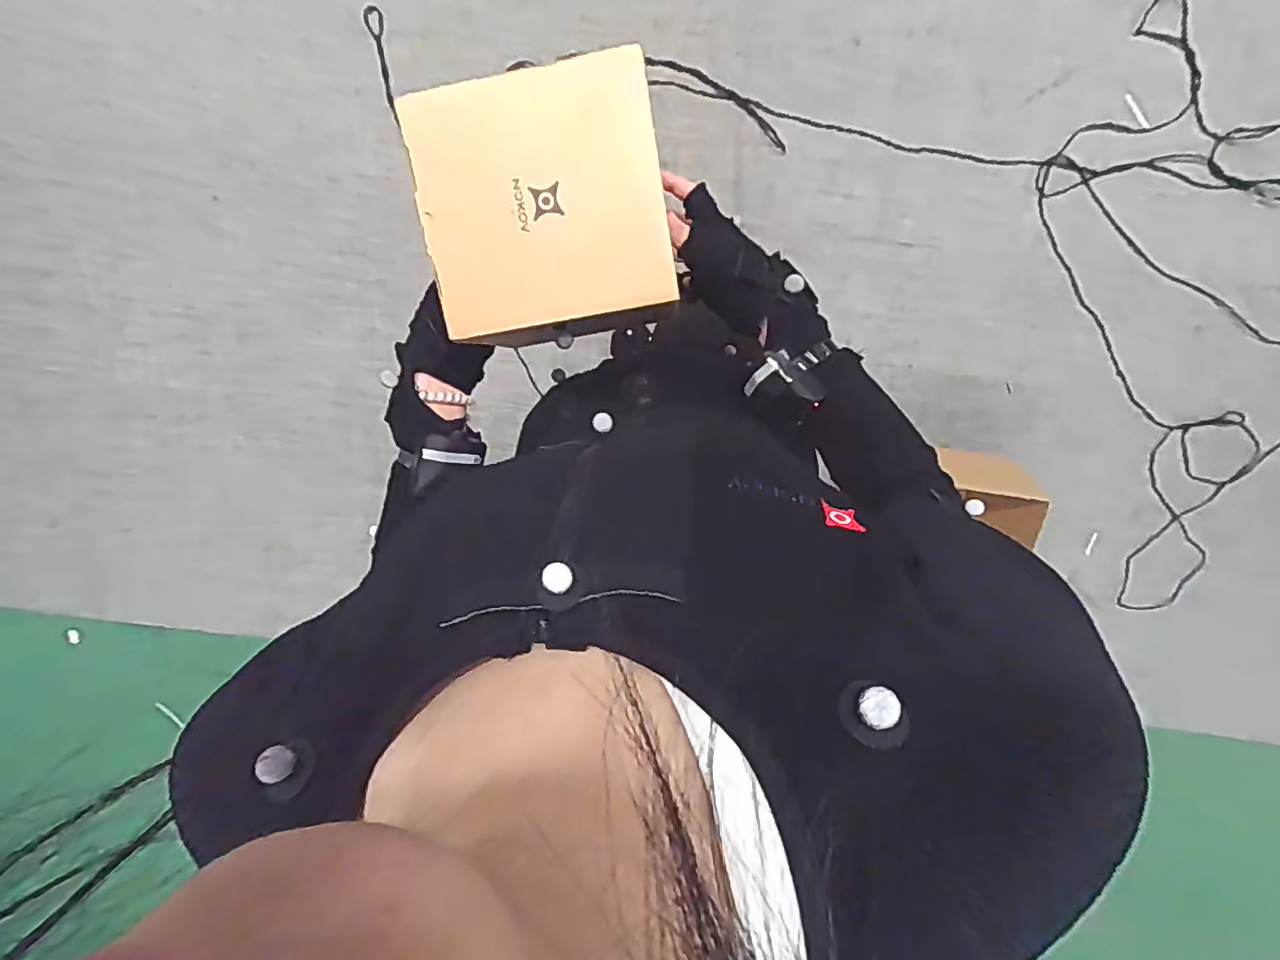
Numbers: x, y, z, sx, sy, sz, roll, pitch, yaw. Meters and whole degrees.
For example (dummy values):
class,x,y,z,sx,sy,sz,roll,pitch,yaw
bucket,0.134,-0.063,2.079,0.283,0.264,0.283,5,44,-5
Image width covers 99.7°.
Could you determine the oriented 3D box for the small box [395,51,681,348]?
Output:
class,x,y,z,sx,sy,sz,roll,pitch,yaw
small box,-0.064,-0.208,0.453,0.179,0.176,0.168,-9,102,6
